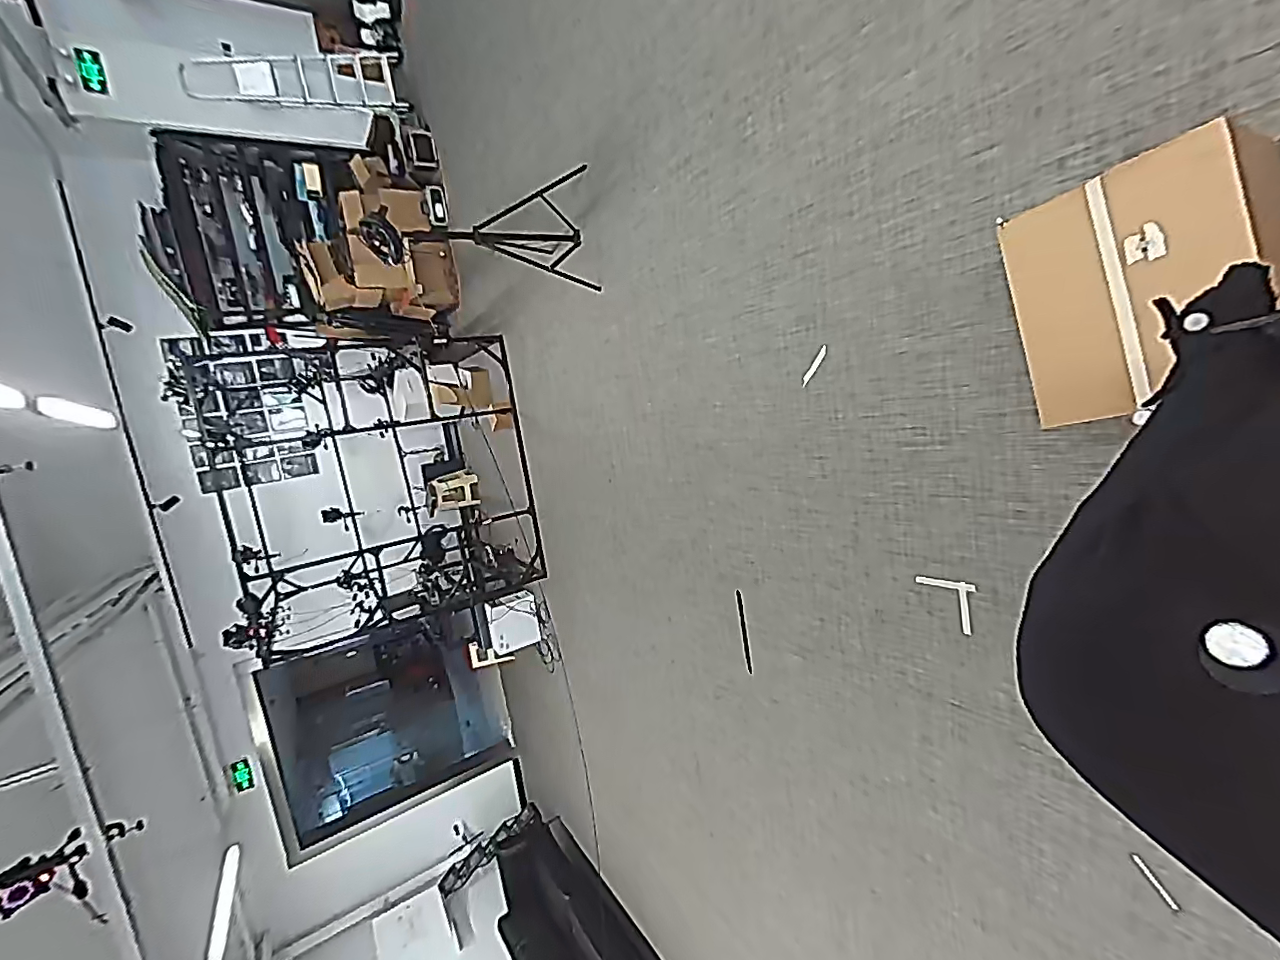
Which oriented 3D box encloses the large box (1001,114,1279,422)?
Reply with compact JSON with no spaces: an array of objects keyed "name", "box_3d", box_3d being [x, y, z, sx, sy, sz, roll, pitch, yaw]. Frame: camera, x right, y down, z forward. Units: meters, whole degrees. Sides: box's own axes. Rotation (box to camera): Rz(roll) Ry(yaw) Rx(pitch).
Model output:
[{"name":"large box","box_3d":[0.938,-0.347,0.978,0.320,0.320,0.408,-13,89,59]}]
